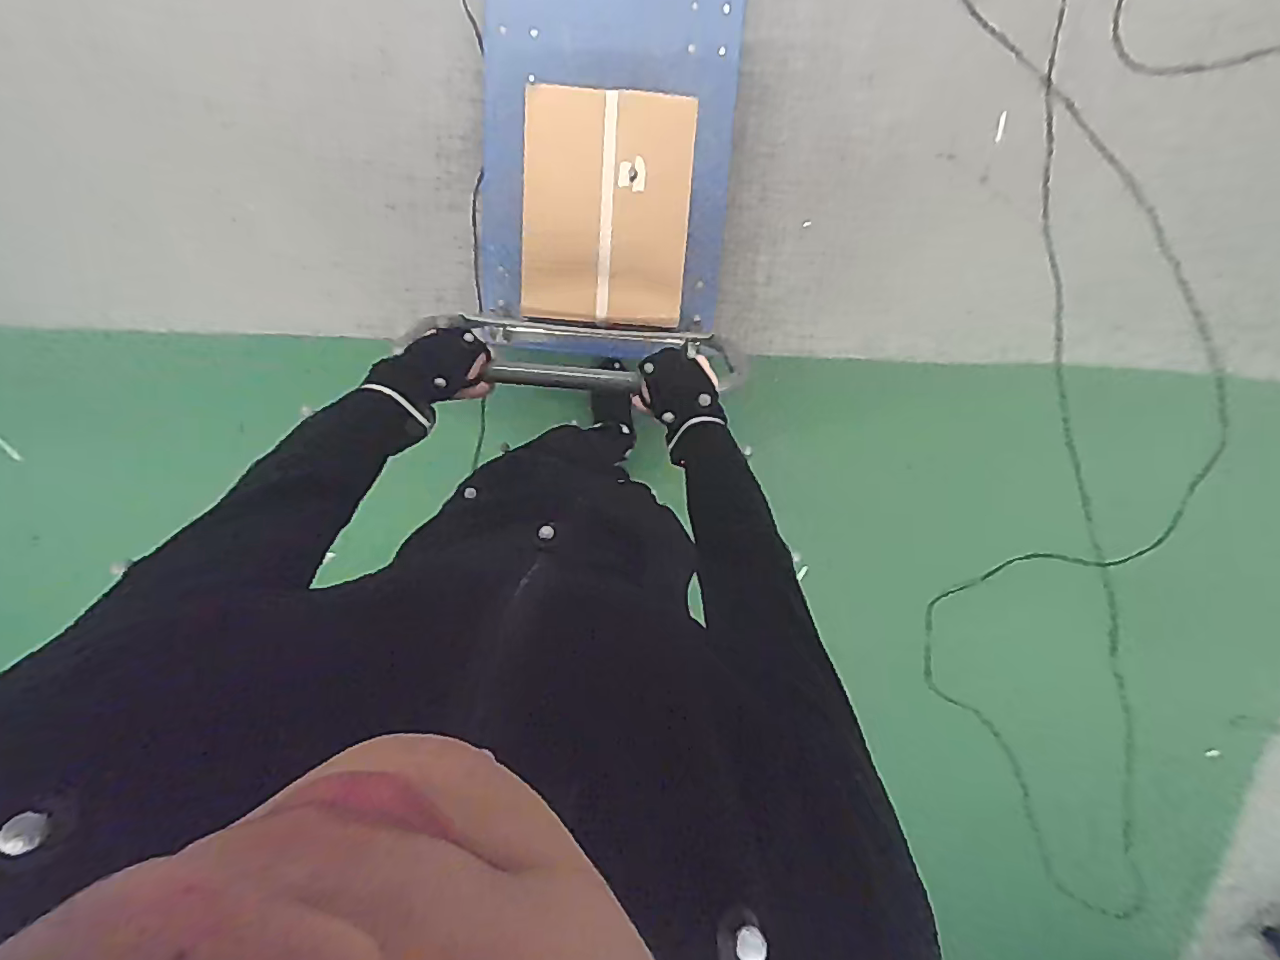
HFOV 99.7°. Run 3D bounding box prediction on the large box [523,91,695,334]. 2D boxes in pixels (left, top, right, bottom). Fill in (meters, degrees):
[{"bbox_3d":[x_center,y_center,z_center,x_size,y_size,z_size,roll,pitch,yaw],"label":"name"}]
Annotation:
[{"bbox_3d":[-0.066,-0.534,1.168,0.320,0.320,0.408,4,103,-3],"label":"large box"}]
